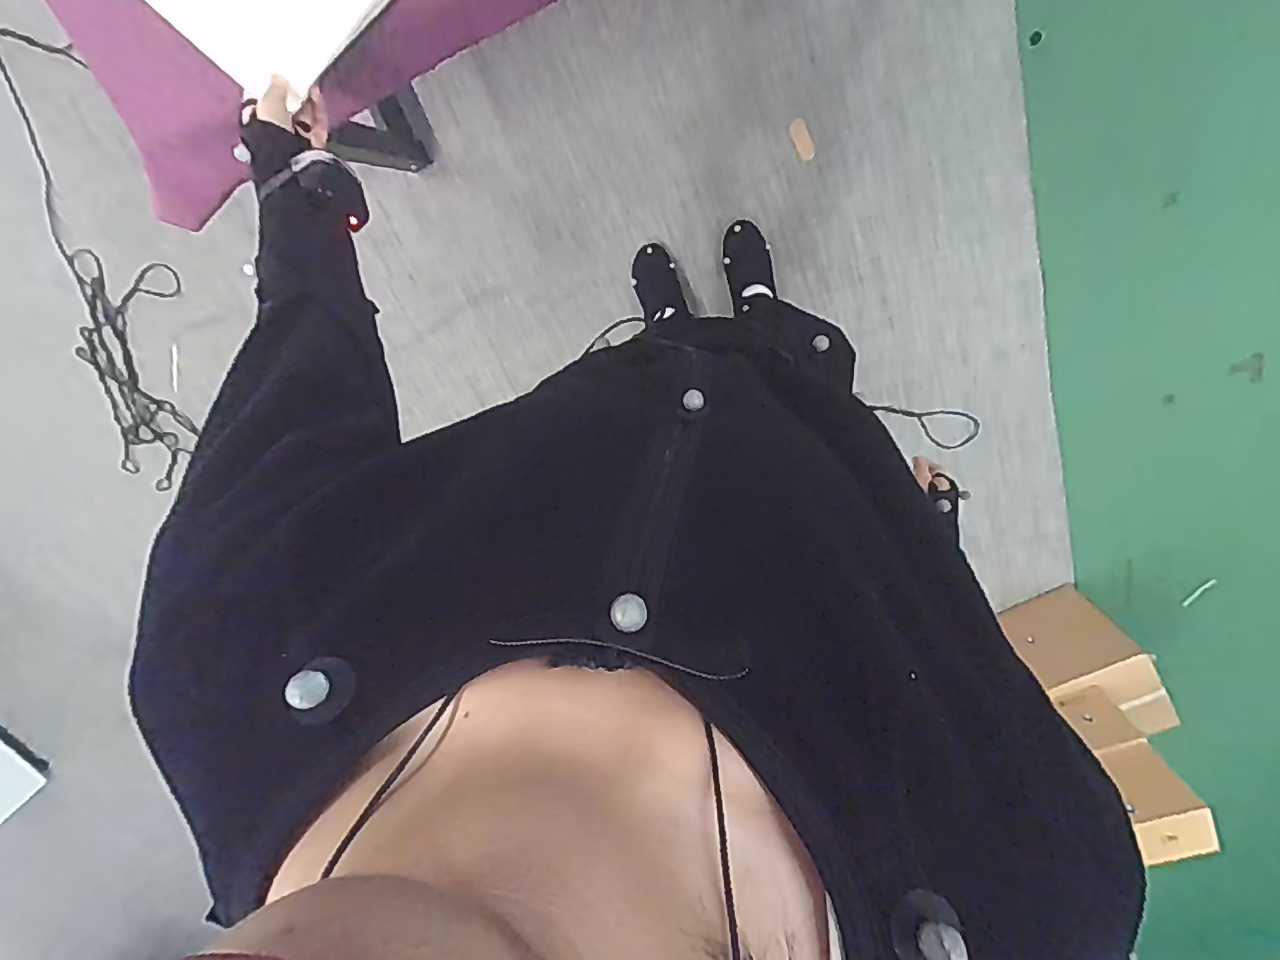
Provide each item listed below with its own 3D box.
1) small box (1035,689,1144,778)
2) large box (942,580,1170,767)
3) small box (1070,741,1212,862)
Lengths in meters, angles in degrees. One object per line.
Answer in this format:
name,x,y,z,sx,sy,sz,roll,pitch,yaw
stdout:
small box,1.185,0.678,1.422,0.168,0.176,0.179,-27,111,16
large box,1.235,0.581,1.647,0.408,0.320,0.320,-33,111,16
small box,1.176,0.755,1.280,0.179,0.176,0.168,-26,111,15
